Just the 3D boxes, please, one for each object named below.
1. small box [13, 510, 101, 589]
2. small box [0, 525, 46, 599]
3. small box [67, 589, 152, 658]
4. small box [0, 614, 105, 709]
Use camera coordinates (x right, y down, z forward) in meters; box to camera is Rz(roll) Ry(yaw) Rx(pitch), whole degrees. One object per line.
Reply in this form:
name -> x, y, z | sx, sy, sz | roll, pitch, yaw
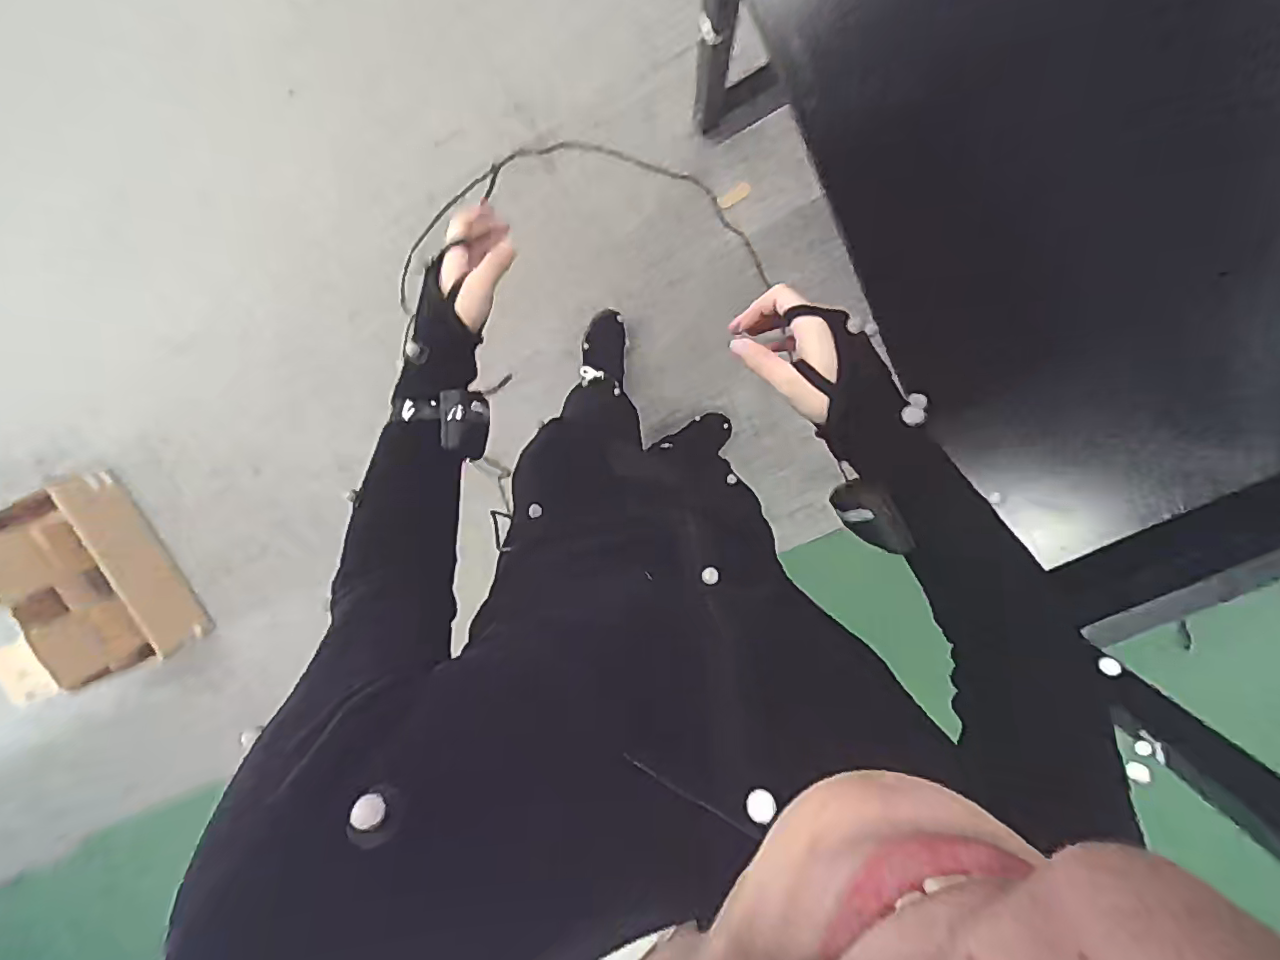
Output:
small box -> -1.786, 0.209, 1.619 | 0.179, 0.176, 0.168 | -21, 101, 8
small box -> -1.794, 0.247, 1.459 | 0.168, 0.176, 0.179 | -25, 100, 8
small box -> -1.674, 0.461, 1.672 | 0.179, 0.176, 0.168 | -22, 100, 9
small box -> -1.681, 0.495, 1.511 | 0.168, 0.176, 0.179 | -23, 100, 9
